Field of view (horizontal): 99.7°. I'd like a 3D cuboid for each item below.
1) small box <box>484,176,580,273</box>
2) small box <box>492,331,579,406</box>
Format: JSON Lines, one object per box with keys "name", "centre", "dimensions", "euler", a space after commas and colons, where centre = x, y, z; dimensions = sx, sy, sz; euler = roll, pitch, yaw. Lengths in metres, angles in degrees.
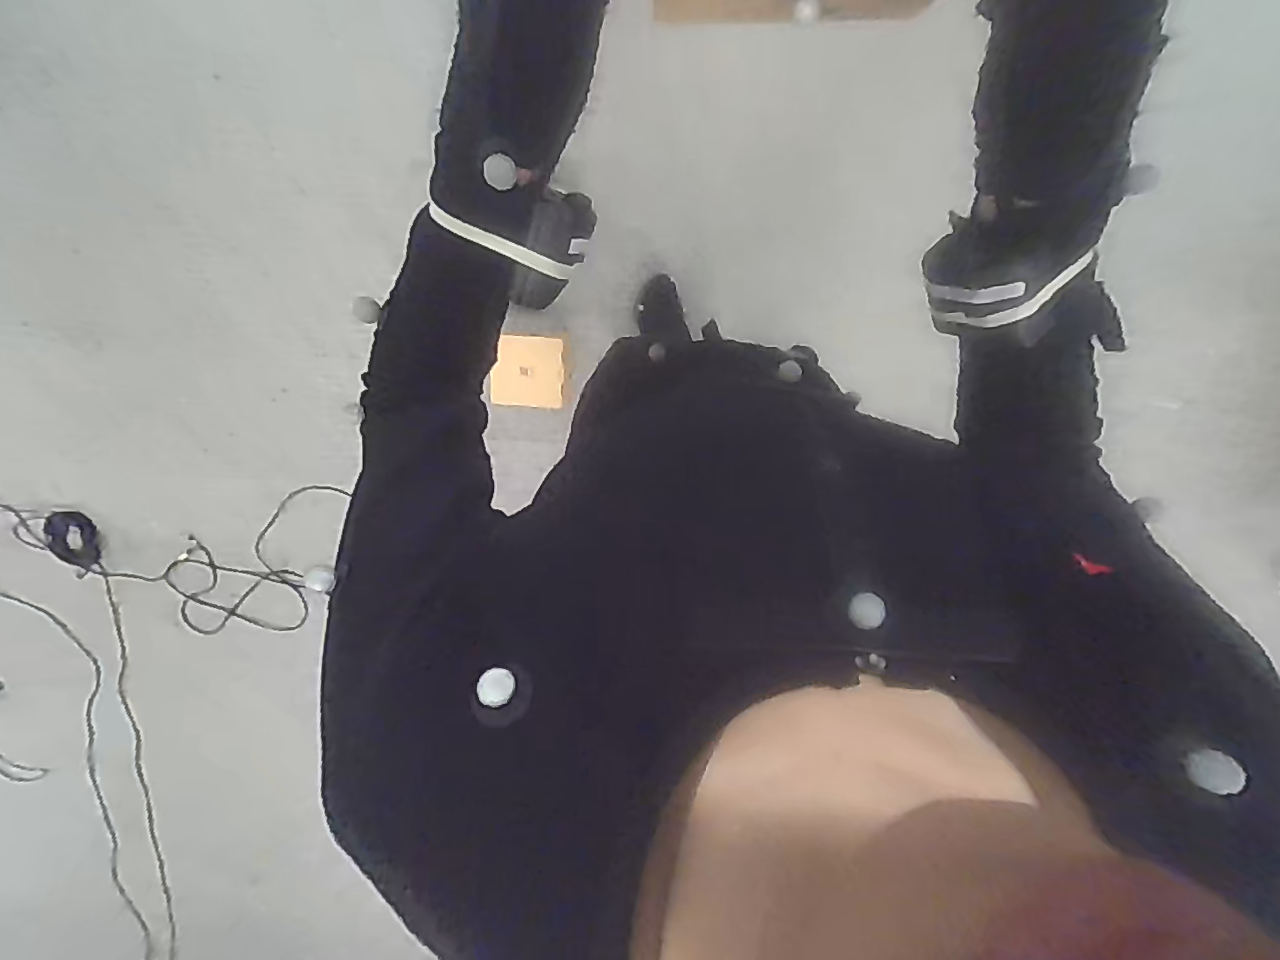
{"name": "small box", "centre": [-0.244, -0.583, 1.256], "dimensions": [0.179, 0.176, 0.168], "euler": [10, 106, 2]}
{"name": "small box", "centre": [-0.256, -0.283, 1.348], "dimensions": [0.179, 0.176, 0.168], "euler": [4, 107, 2]}
